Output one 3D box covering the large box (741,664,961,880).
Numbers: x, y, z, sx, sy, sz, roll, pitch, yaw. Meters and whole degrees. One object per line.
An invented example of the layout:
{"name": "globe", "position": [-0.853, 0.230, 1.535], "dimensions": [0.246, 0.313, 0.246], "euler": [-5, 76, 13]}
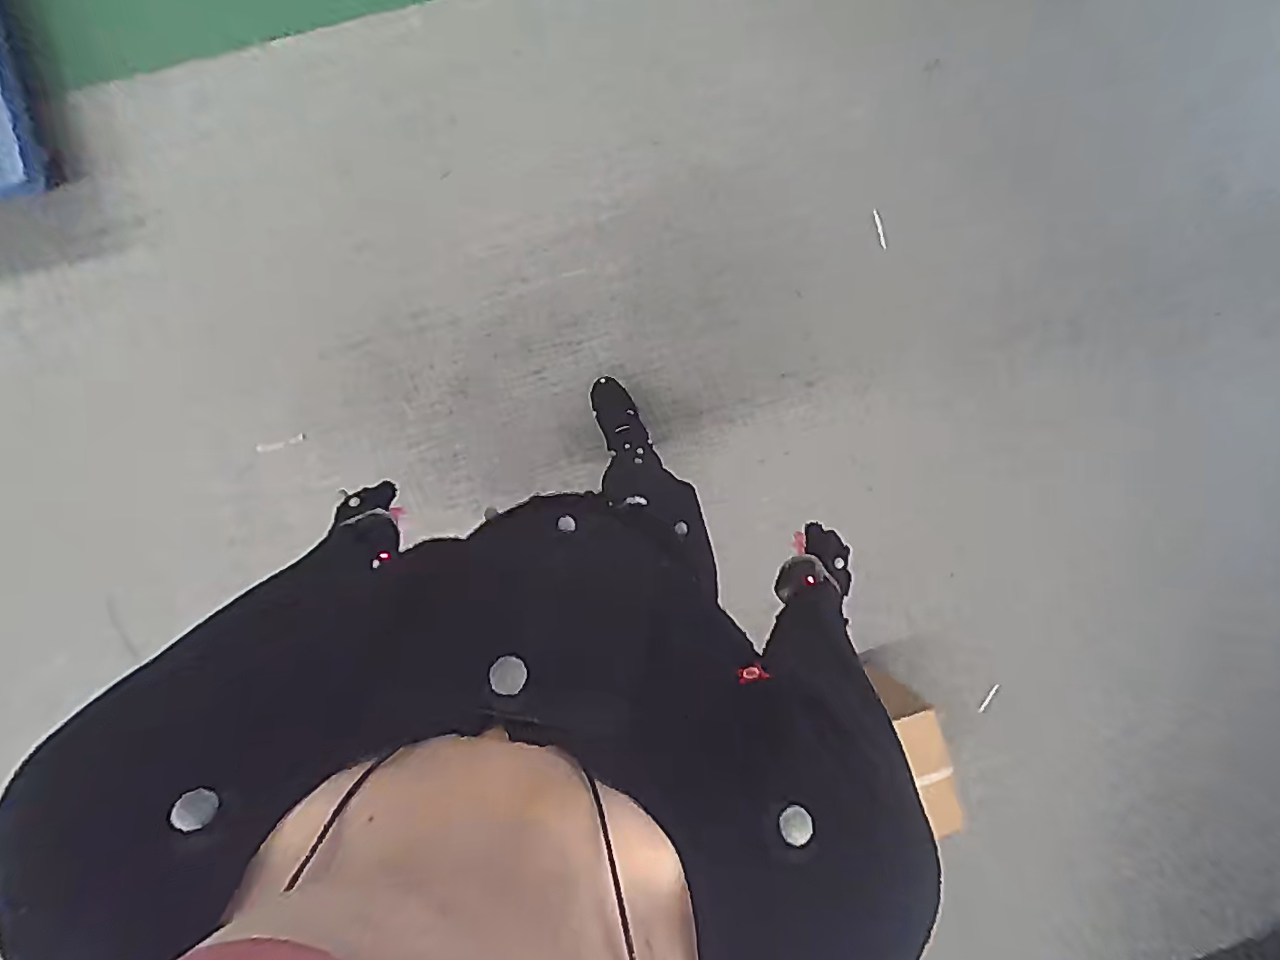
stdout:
{"name": "large box", "position": [0.527, 0.734, 1.417], "dimensions": [0.408, 0.320, 0.320], "euler": [-15, 94, -4]}
